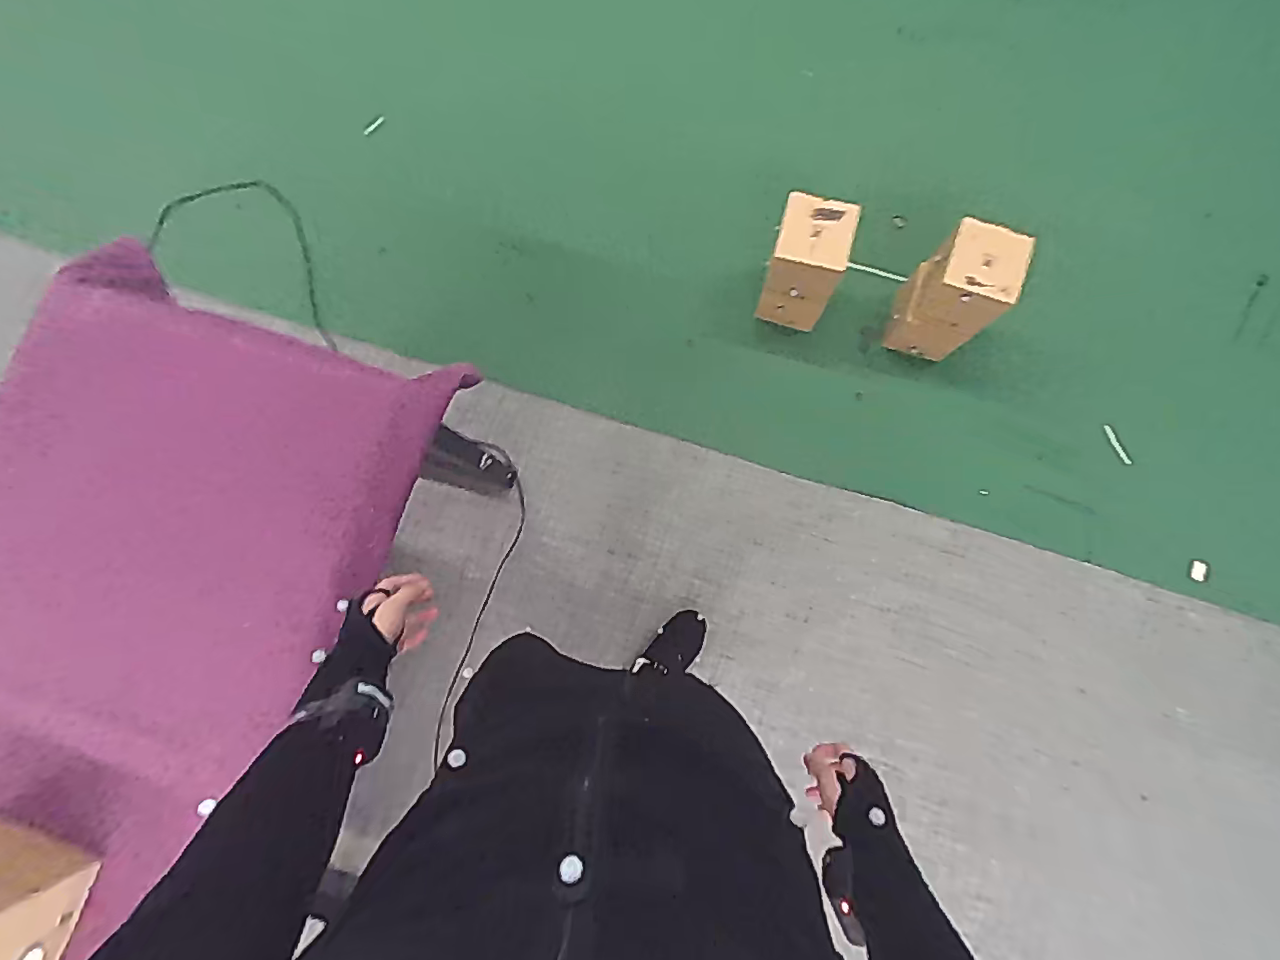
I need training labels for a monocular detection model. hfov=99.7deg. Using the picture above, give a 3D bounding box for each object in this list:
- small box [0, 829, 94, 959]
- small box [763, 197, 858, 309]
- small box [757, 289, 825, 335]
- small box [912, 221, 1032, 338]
[{"bbox_3d":[-0.815,0.540,0.621,0.179,0.176,0.168,18,81,5],"label":"small box"},{"bbox_3d":[0.412,-0.553,1.332,0.168,0.176,0.179,15,82,6],"label":"small box"},{"bbox_3d":[0.430,-0.528,1.494,0.168,0.176,0.179,18,81,6],"label":"small box"},{"bbox_3d":[0.788,-0.474,1.301,0.168,0.176,0.179,21,81,6],"label":"small box"}]
